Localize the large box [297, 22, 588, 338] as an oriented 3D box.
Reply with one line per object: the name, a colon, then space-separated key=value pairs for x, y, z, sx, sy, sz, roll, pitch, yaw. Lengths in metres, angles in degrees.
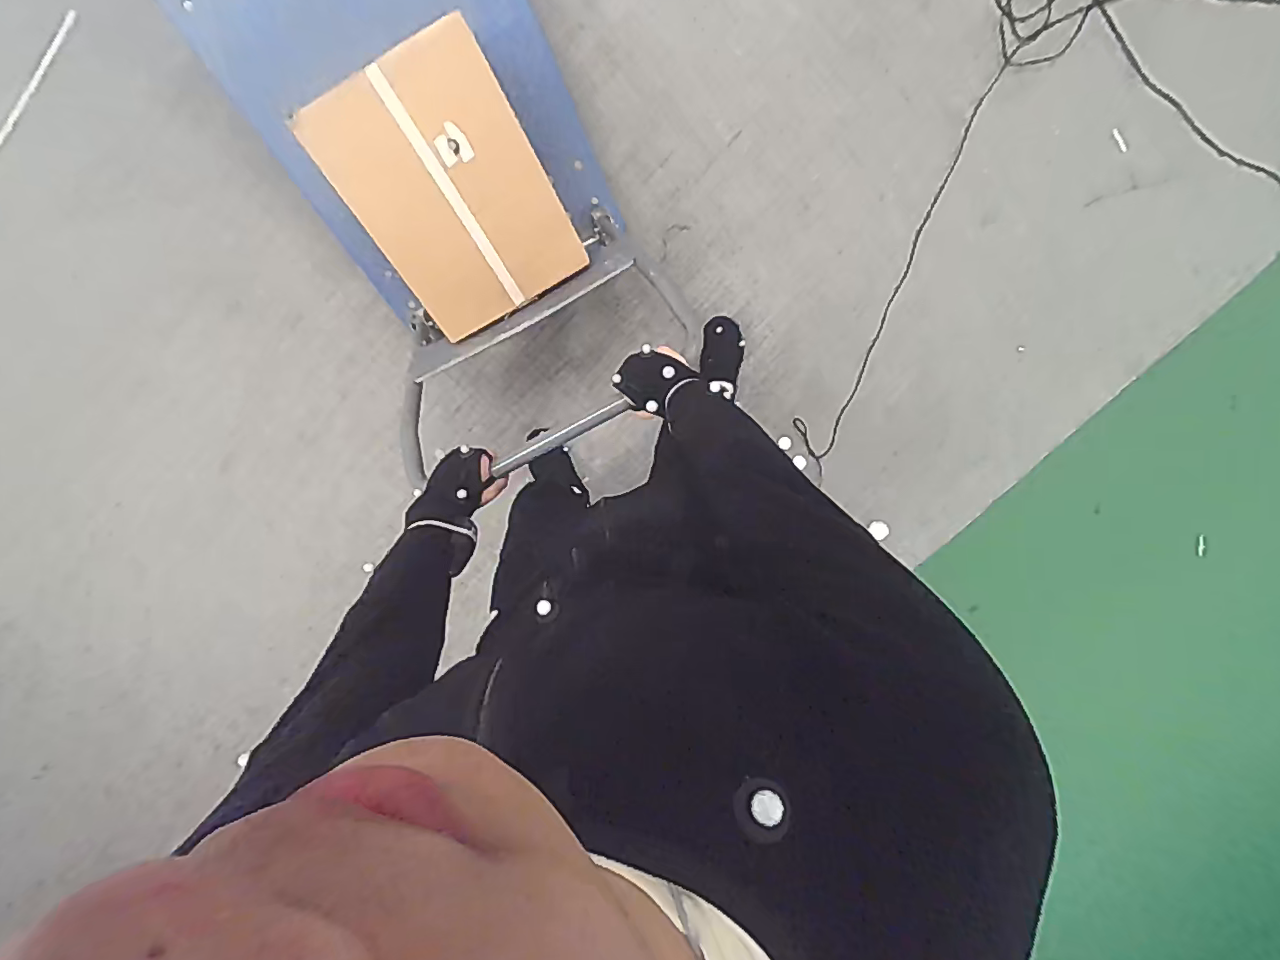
large box: x=-0.345 y=-0.564 z=1.059 sx=0.320 sy=0.320 sz=0.408 roll=-29 pitch=125 yaw=5
